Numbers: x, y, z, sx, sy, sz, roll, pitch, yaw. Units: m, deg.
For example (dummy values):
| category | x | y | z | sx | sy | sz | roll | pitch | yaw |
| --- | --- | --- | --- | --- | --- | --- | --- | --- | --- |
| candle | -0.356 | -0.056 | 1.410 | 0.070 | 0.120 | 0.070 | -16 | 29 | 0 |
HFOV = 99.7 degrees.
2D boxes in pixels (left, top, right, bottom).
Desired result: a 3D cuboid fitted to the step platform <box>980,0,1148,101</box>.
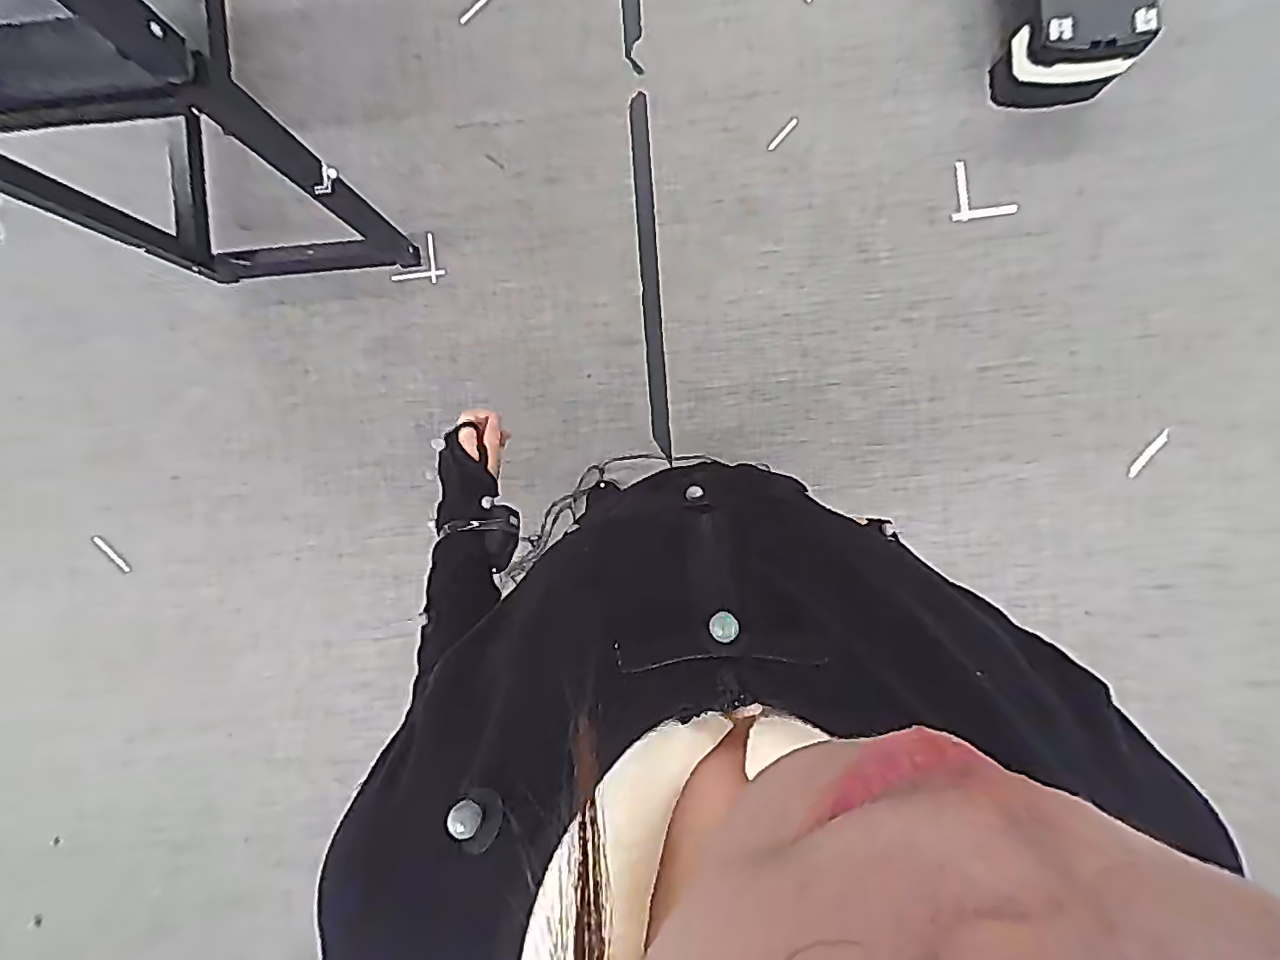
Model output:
| category | x | y | z | sx | sy | sz | roll | pitch | yaw |
| --- | --- | --- | --- | --- | --- | --- | --- | --- | --- |
| step platform | 1.052 | -1.351 | 1.341 | 0.286 | 0.204 | 0.684 | 1 | 90 | 2 |
